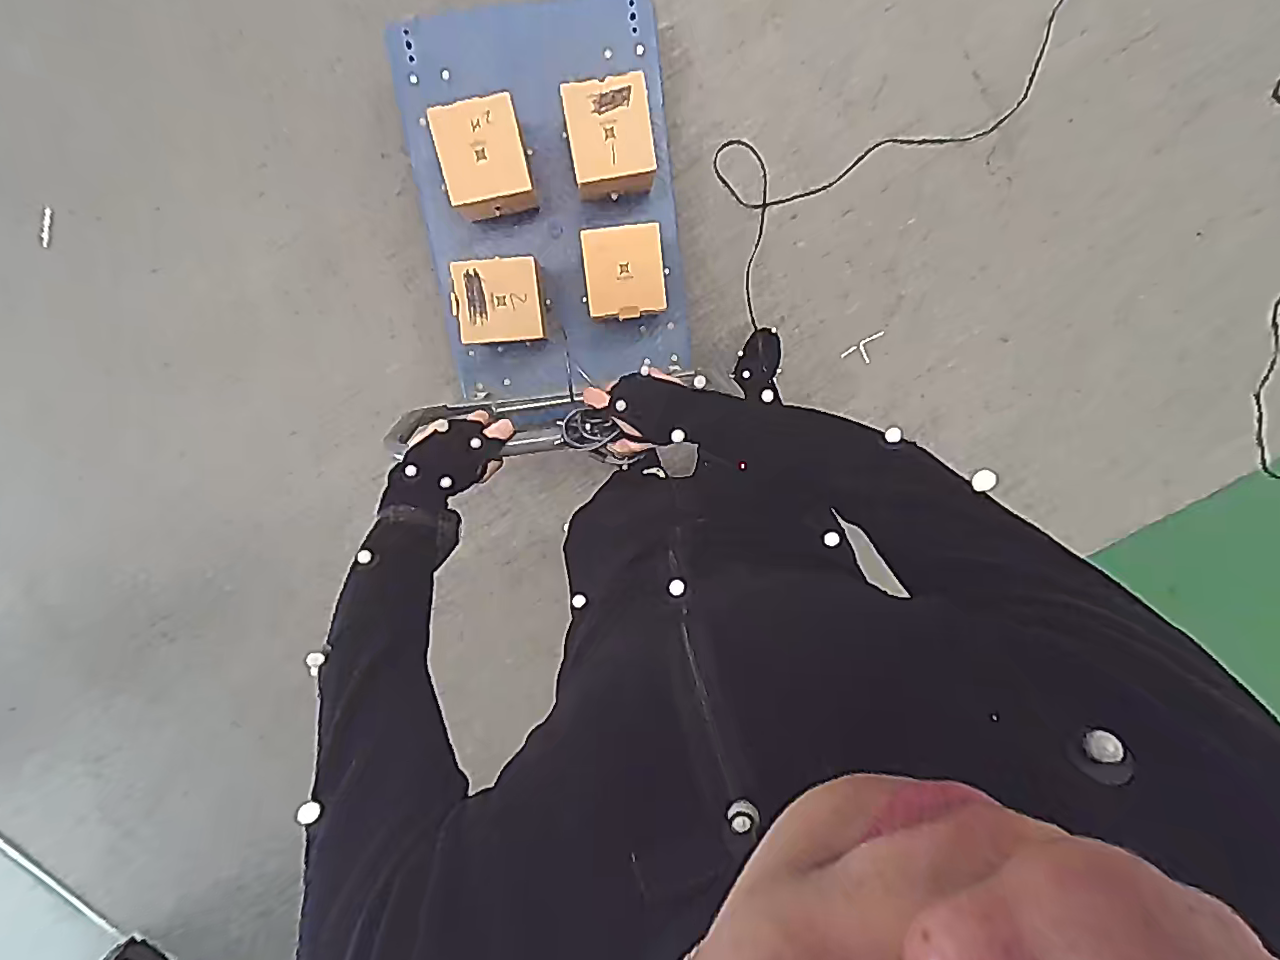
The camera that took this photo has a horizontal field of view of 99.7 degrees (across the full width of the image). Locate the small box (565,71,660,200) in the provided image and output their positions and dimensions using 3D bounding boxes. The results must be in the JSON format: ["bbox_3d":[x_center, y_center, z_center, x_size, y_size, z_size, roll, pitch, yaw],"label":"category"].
[{"bbox_3d":[-0.057,-0.710,1.132,0.168,0.176,0.179,-10,107,0],"label":"small box"}]

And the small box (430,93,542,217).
[{"bbox_3d":[-0.311,-0.665,1.131,0.168,0.176,0.179,-12,106,-1],"label":"small box"}]

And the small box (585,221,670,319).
[{"bbox_3d":[-0.031,-0.460,1.206,0.168,0.176,0.179,-7,106,-1],"label":"small box"}]
